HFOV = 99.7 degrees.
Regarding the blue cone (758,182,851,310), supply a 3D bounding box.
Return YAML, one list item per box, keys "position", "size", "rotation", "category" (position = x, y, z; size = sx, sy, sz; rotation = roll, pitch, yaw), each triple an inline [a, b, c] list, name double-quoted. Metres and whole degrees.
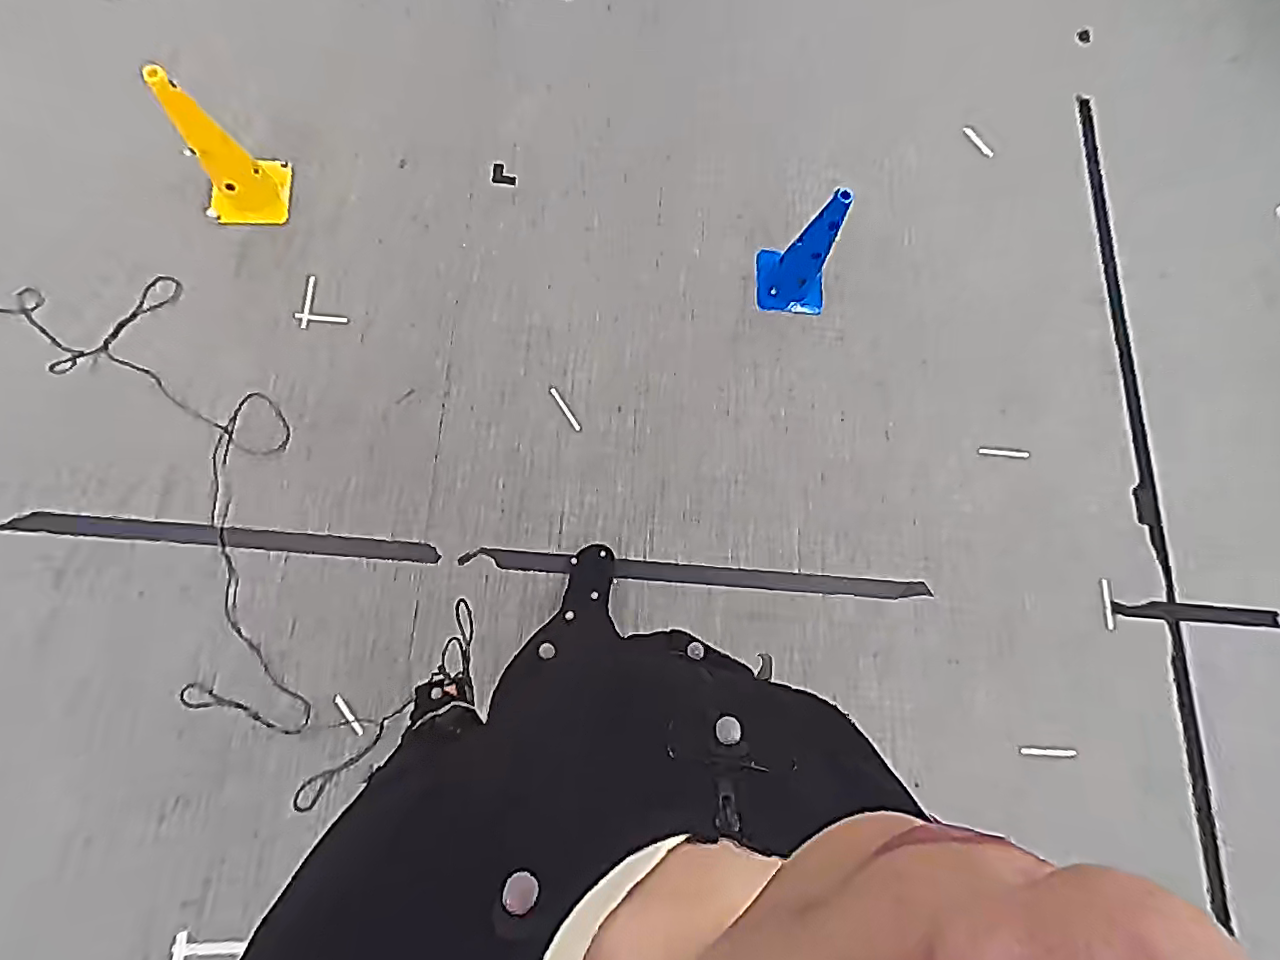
- position: [0.460, -0.630, 1.440]
  size: [0.193, 0.380, 0.192]
  rotation: [5, 76, -5]
  category: "blue cone"
